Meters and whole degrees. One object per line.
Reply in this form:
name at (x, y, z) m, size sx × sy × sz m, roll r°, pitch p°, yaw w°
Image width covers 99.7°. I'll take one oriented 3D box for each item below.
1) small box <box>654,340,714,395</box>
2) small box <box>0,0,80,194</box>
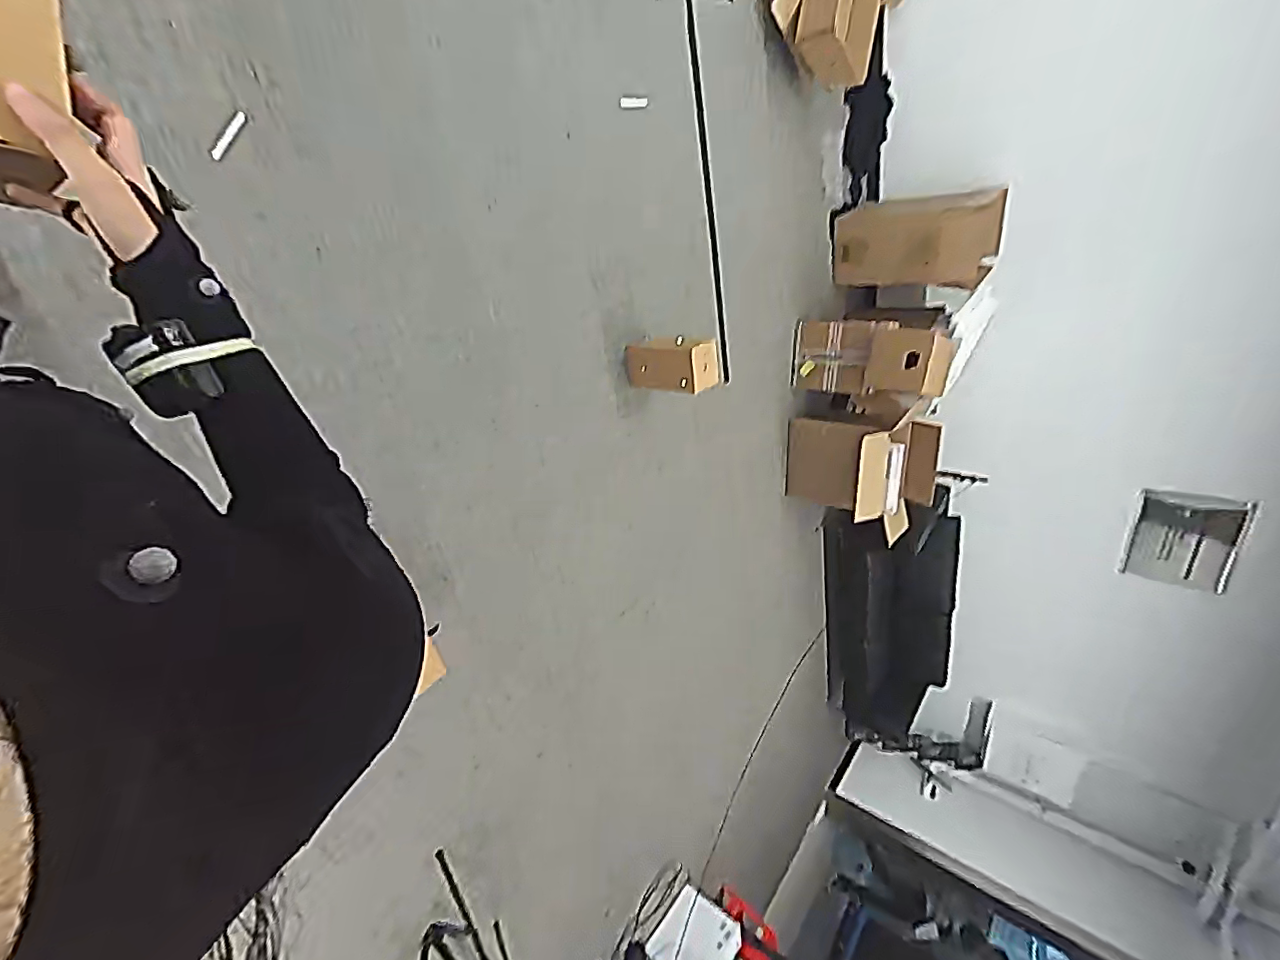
small box at (0.173, -0.446, 2.115) m, size 0.168 × 0.176 × 0.179 m, roll -32°, pitch 123°, yaw -42°
small box at (-0.475, -0.297, 0.320) m, size 0.168 × 0.176 × 0.179 m, roll -11°, pitch 107°, yaw -53°
